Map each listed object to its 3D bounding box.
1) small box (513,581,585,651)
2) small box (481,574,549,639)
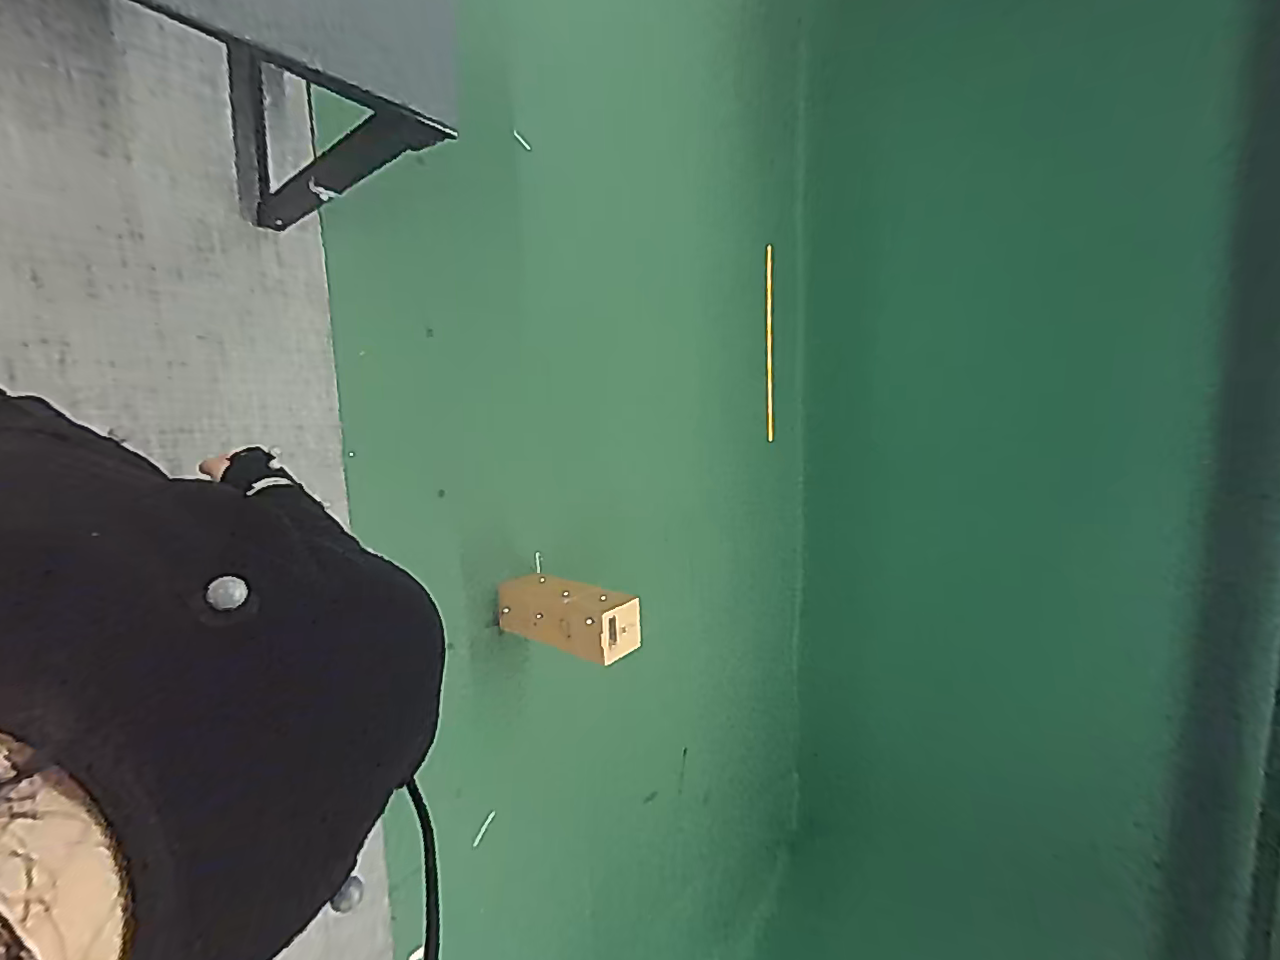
[{"bbox_3d":[-0.303,0.446,1.805,0.179,0.176,0.168,-11,102,-53],"label":"small box"},{"bbox_3d":[-0.435,0.437,1.898,0.179,0.176,0.168,-10,100,-54],"label":"small box"}]
